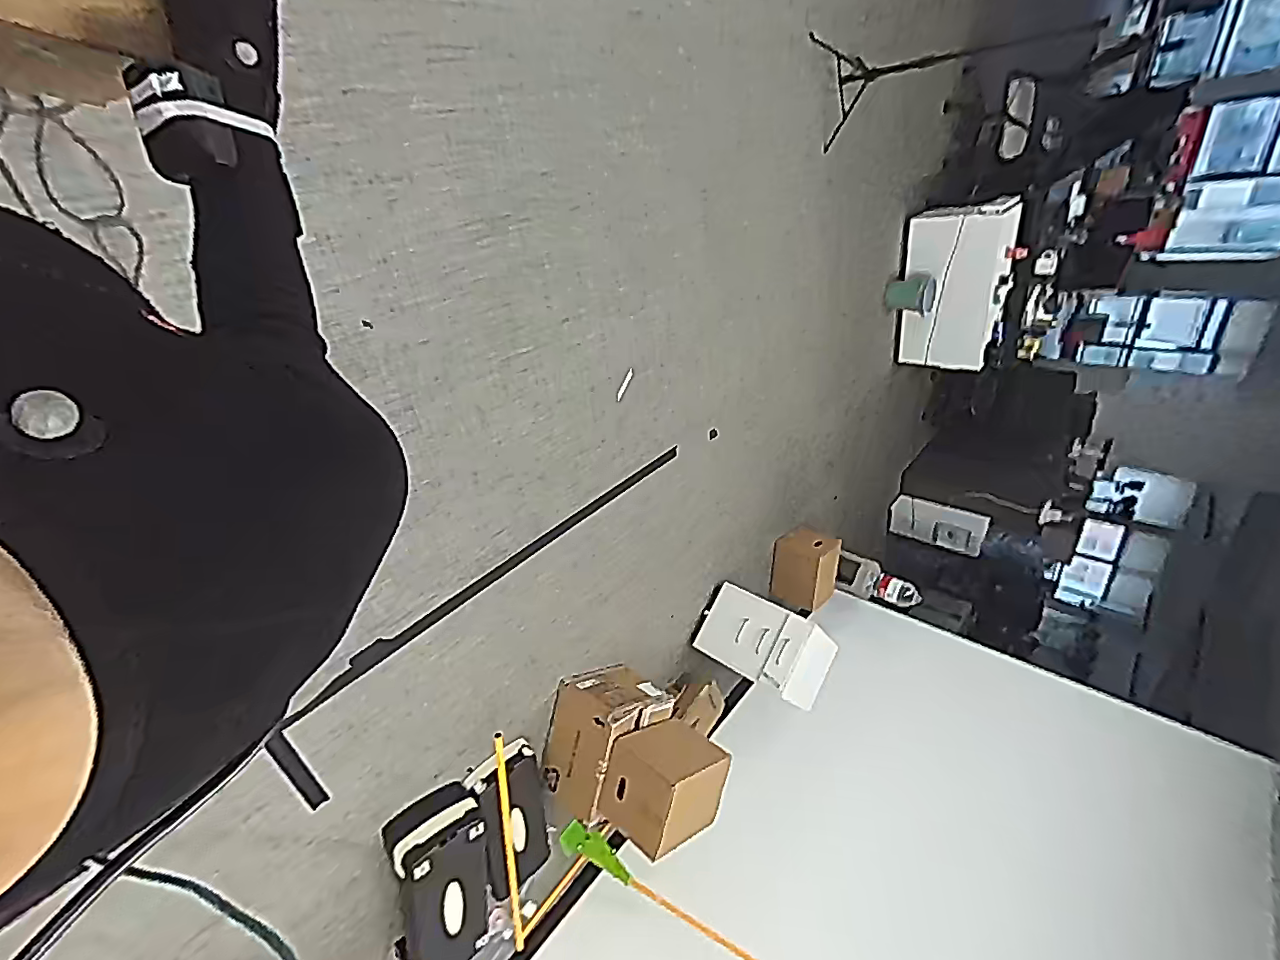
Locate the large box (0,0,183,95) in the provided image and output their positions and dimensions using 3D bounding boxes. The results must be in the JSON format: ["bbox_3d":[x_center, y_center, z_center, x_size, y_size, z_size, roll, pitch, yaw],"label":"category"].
[{"bbox_3d":[-0.560,-0.458,0.284,0.408,0.320,0.320,-17,122,-49],"label":"large box"}]
